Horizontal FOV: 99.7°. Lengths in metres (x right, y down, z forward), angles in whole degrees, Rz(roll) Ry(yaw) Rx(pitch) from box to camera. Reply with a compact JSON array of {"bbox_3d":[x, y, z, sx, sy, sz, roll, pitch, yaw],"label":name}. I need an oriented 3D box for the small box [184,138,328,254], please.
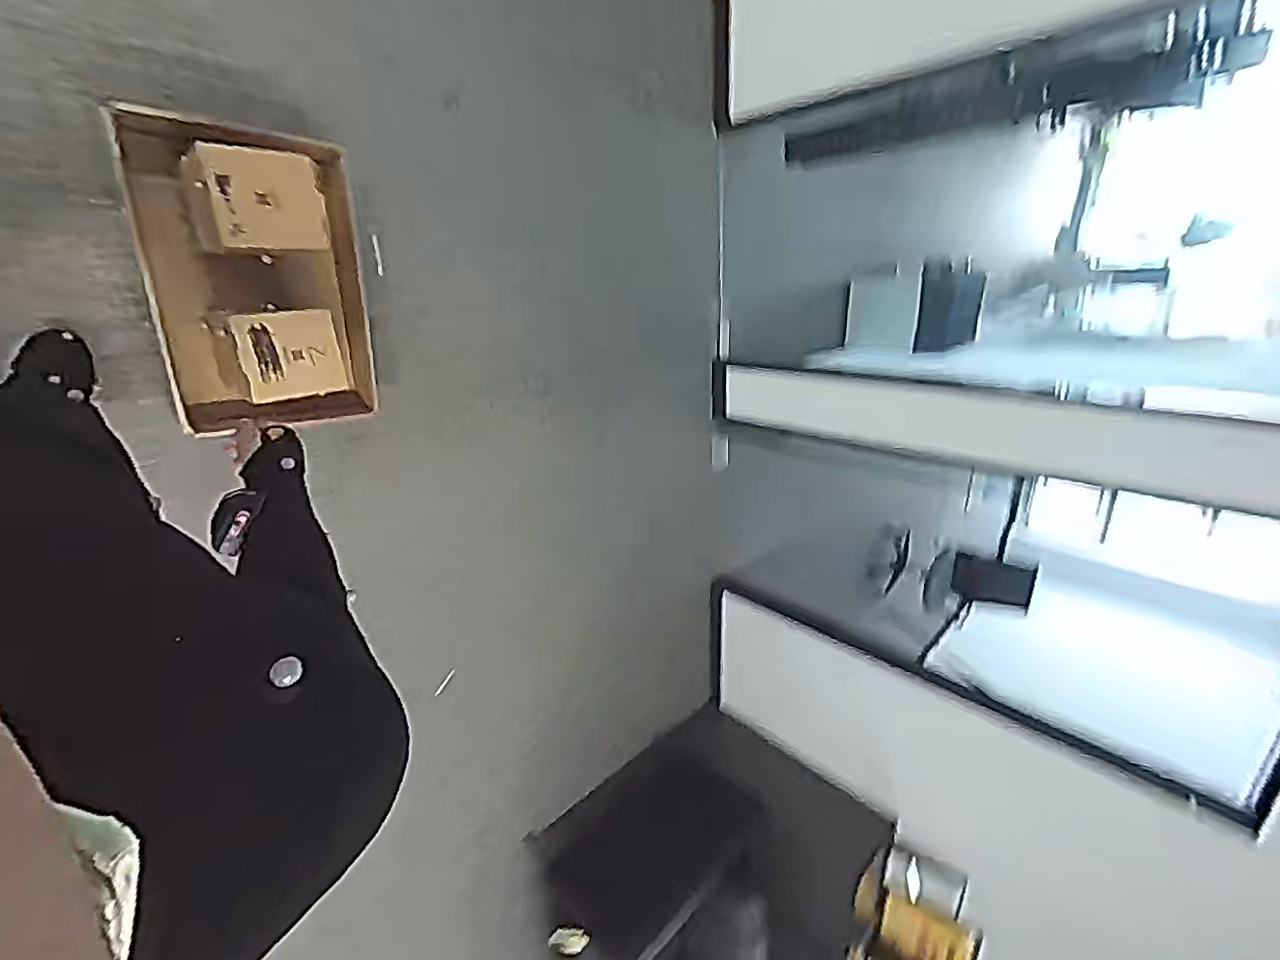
[{"bbox_3d":[-0.732,-0.529,1.034,0.179,0.176,0.168,-18,114,-42],"label":"small box"}]
